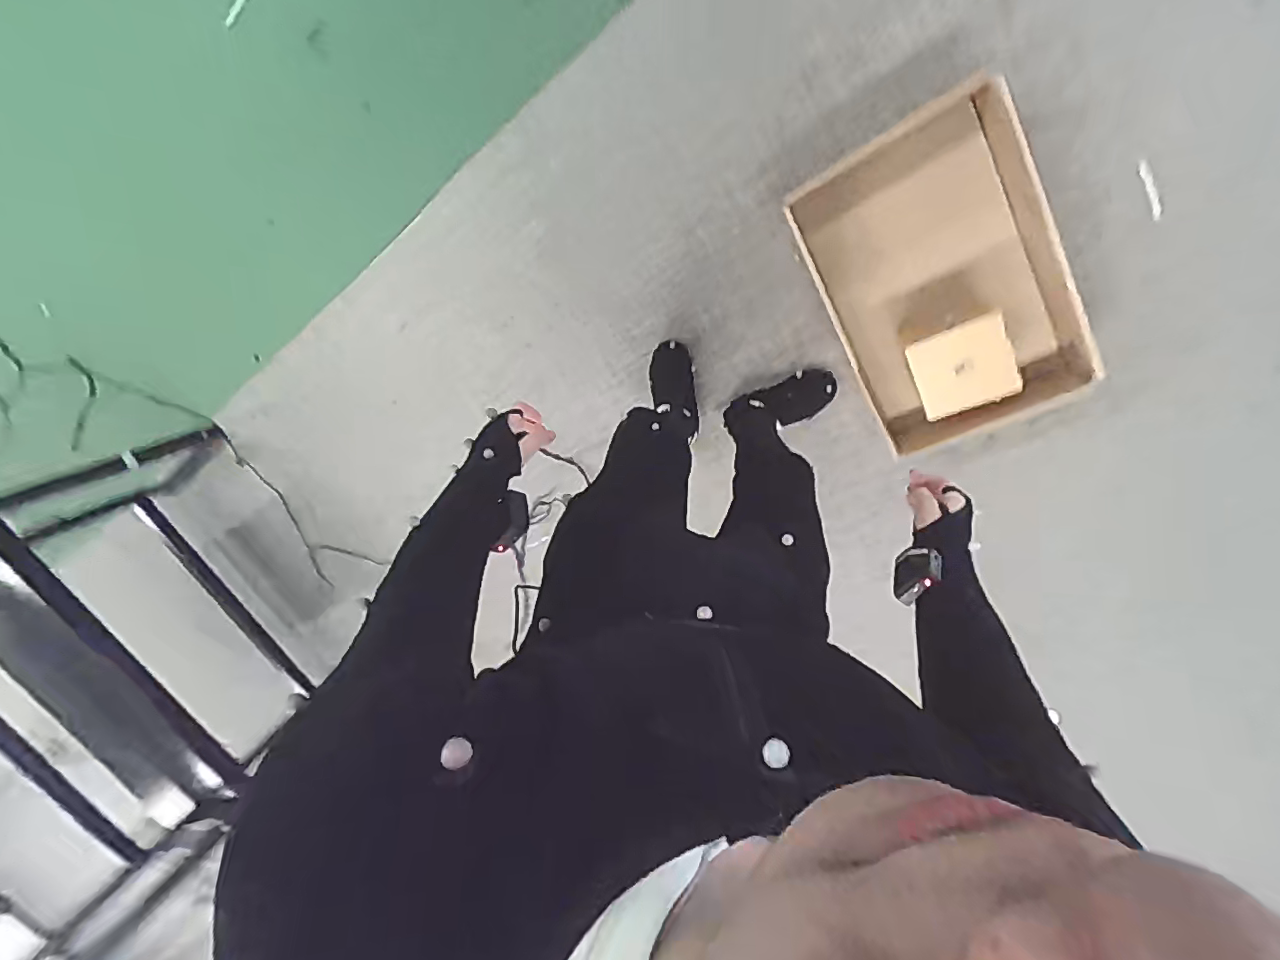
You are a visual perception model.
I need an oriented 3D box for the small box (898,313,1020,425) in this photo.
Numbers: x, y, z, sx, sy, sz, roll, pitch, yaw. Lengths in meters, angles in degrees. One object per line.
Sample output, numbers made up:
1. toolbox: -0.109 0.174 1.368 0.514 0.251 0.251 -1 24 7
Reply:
1. small box: 0.664 -0.239 1.149 0.179 0.176 0.168 -20 105 25
